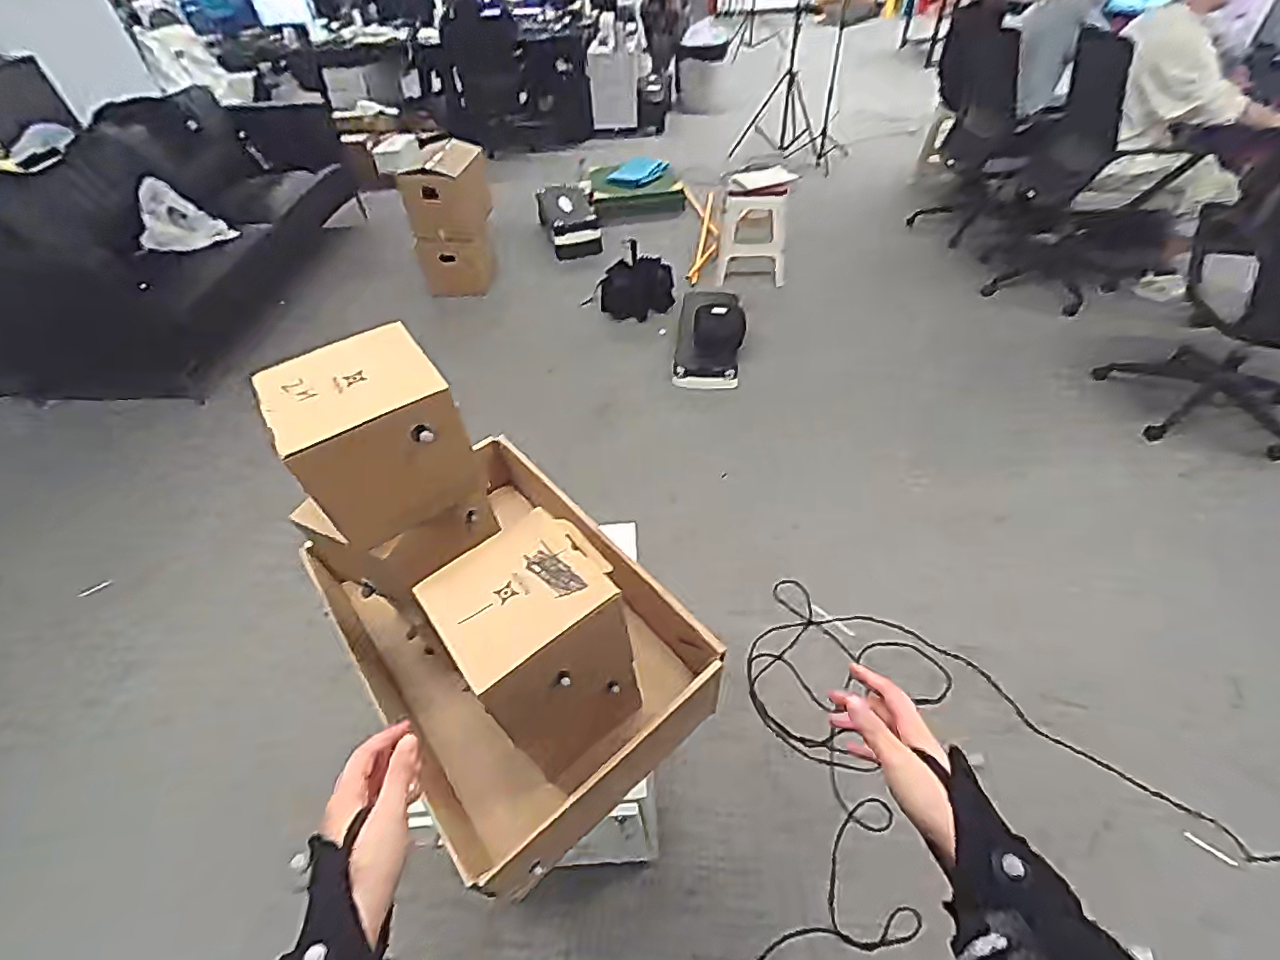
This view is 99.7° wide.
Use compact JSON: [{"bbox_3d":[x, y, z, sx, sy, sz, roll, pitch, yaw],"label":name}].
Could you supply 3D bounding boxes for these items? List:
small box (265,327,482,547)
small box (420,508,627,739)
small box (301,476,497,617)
[{"bbox_3d":[-0.313,-0.053,0.666,0.179,0.176,0.168,-30,52,-19],"label":"small box"},{"bbox_3d":[-0.130,0.174,0.661,0.179,0.176,0.168,-34,51,-21],"label":"small box"},{"bbox_3d":[-0.329,0.065,0.784,0.168,0.176,0.179,16,54,19],"label":"small box"}]
